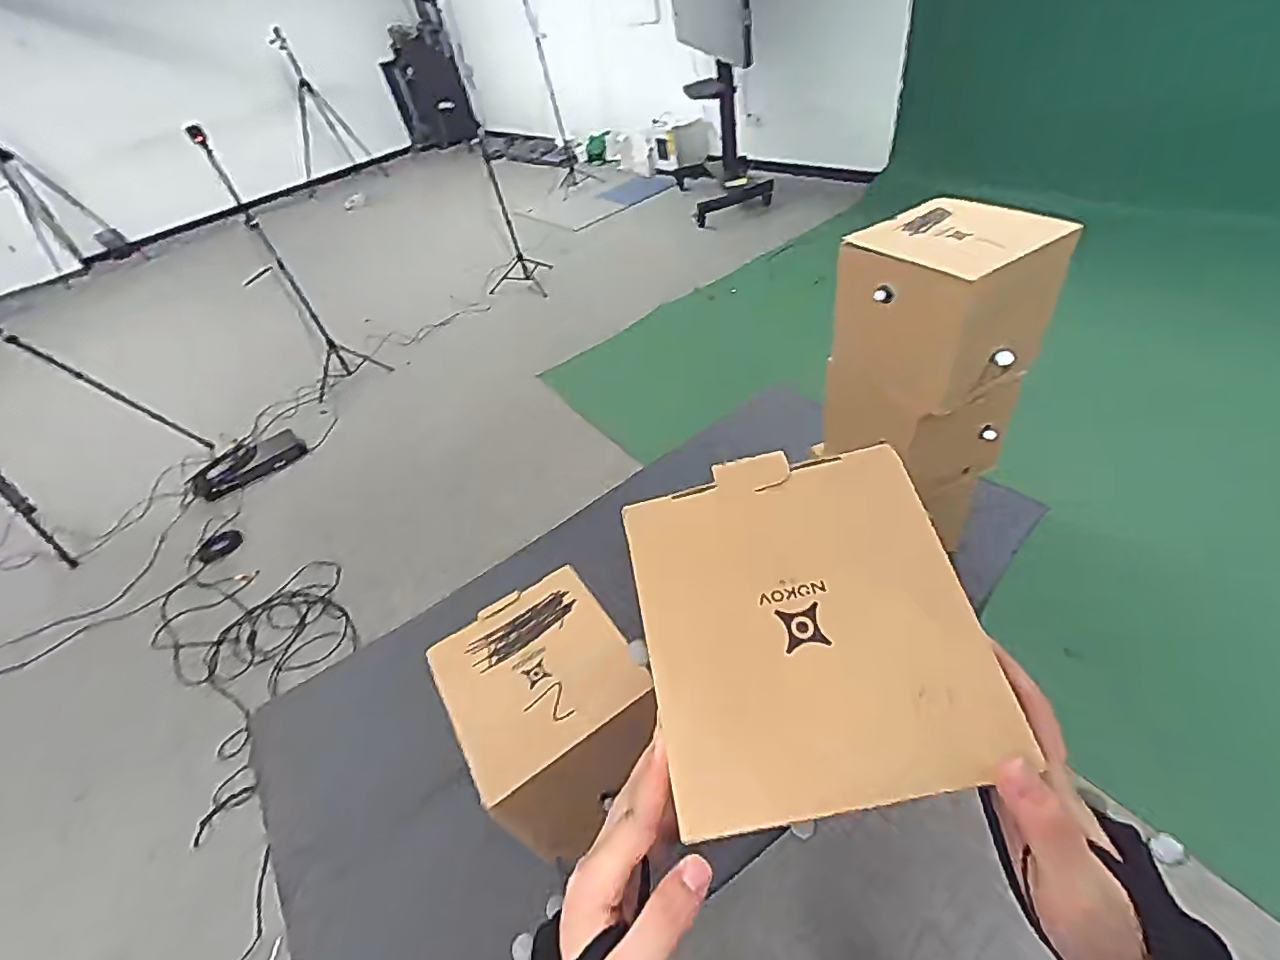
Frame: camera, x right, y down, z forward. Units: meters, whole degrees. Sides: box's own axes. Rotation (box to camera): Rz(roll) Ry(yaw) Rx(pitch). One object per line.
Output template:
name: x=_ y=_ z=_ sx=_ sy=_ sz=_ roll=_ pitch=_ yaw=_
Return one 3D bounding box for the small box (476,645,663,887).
small box: x=-0.067 y=0.348 z=0.663 sx=0.168 sy=0.176 sz=0.179 roll=-35 pitch=46 yaw=-21

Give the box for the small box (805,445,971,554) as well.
small box: x=0.381 y=0.034 z=0.864 sx=0.168 sy=0.176 sz=0.179 roll=-20 pitch=41 yaw=-6

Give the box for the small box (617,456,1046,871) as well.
small box: x=0.093 y=0.114 z=0.340 sx=0.168 sy=0.176 sz=0.179 roll=-13 pitch=61 yaw=4

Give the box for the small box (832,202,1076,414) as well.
small box: x=0.350 y=-0.206 z=0.644 sx=0.168 sy=0.176 sz=0.179 roll=-28 pitch=44 yaw=-15

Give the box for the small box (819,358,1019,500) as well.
small box: x=0.372 y=-0.087 z=0.755 sx=0.168 sy=0.176 sz=0.179 roll=-23 pitch=41 yaw=-11
